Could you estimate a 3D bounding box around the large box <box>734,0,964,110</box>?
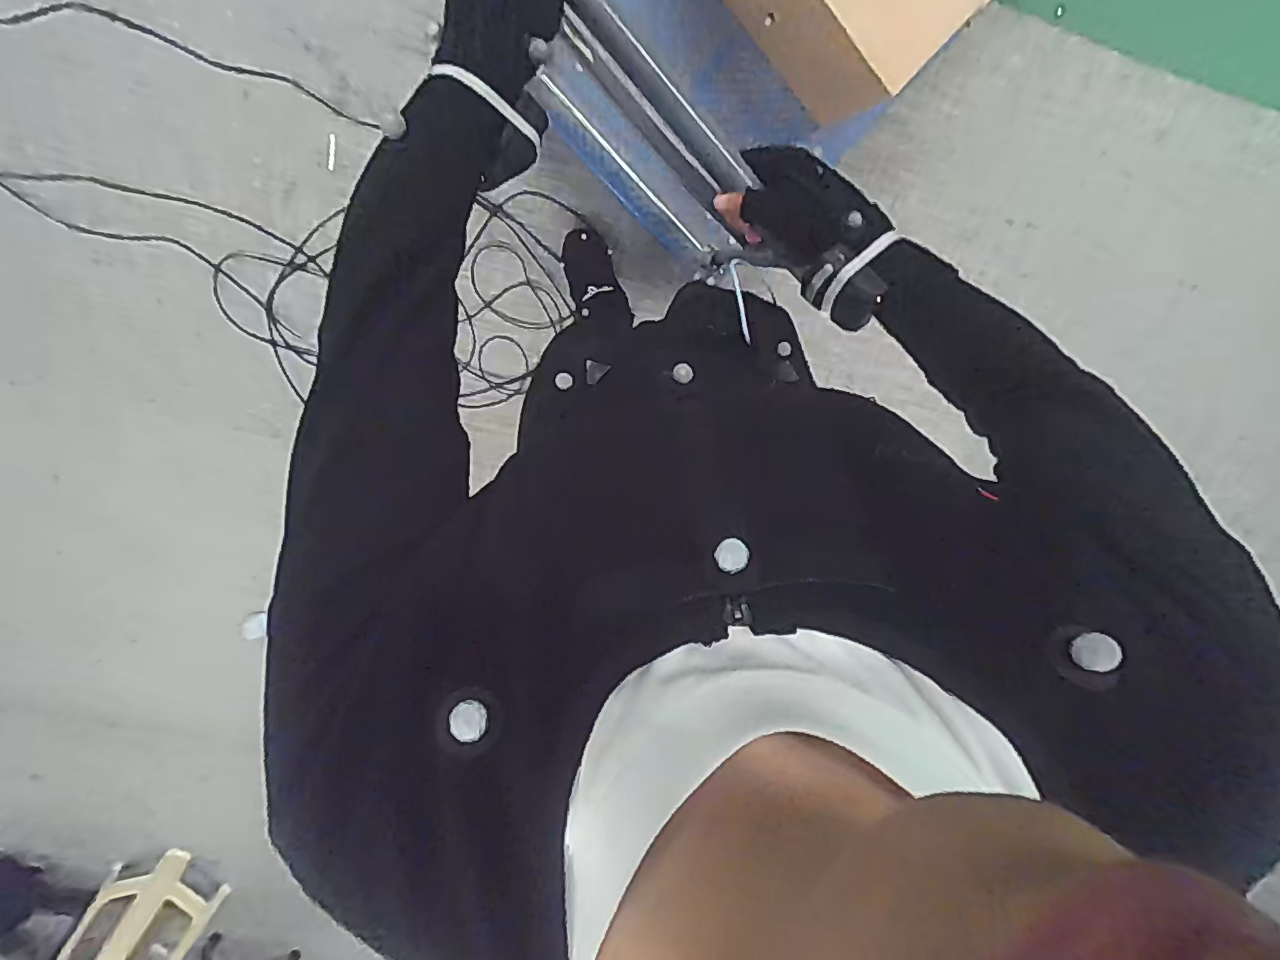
[{"bbox_3d":[0.310,-0.853,0.797,0.408,0.320,0.320,39,109,-19],"label":"large box"}]
